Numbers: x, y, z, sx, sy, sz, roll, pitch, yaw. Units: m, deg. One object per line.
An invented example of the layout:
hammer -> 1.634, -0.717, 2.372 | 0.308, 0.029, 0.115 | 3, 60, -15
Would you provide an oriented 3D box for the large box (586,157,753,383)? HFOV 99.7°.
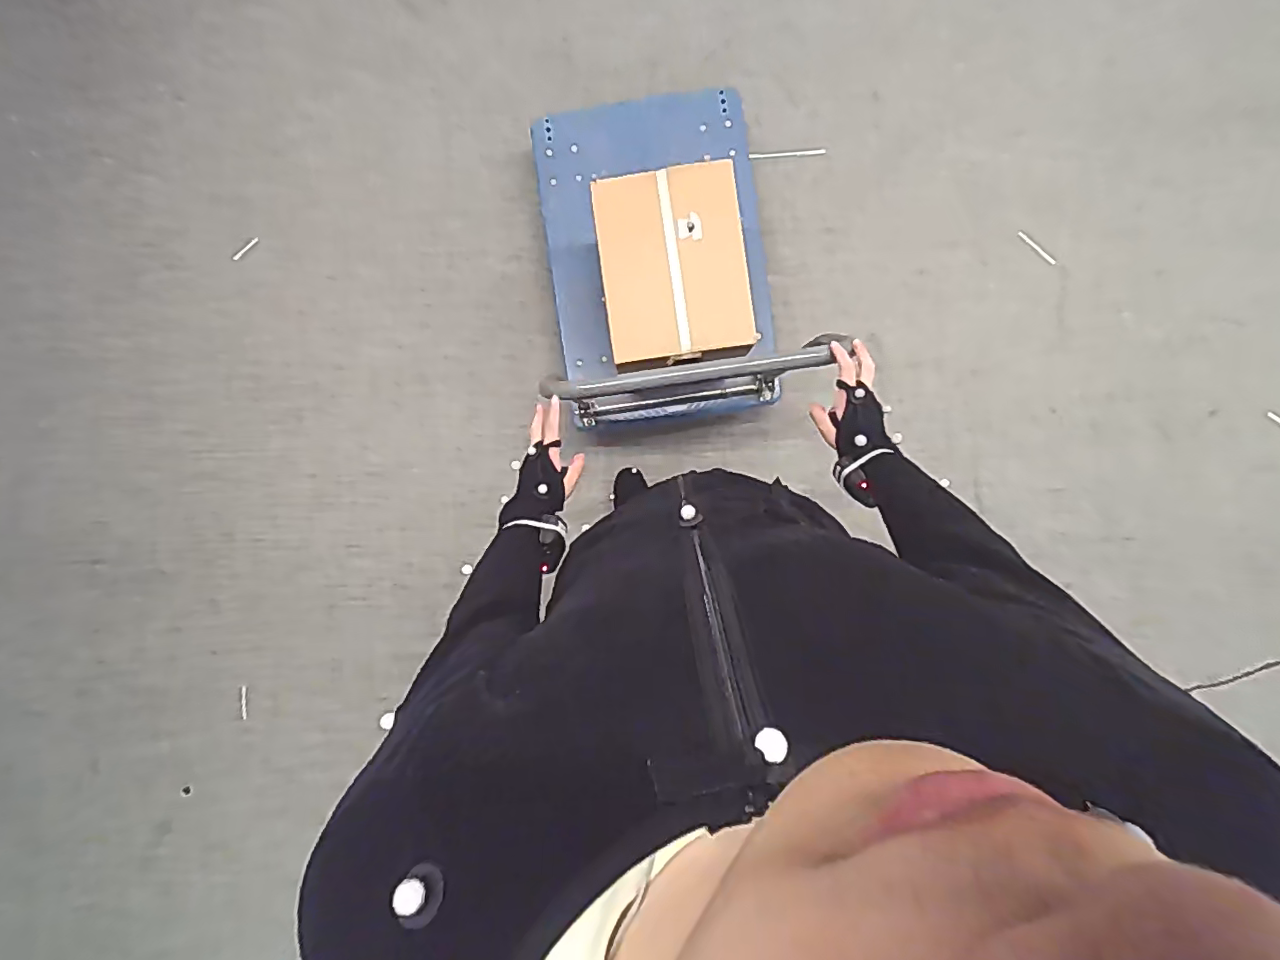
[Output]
large box -> 0.070, -0.479, 1.320 | 0.320, 0.320, 0.408 | -8, 90, 1
